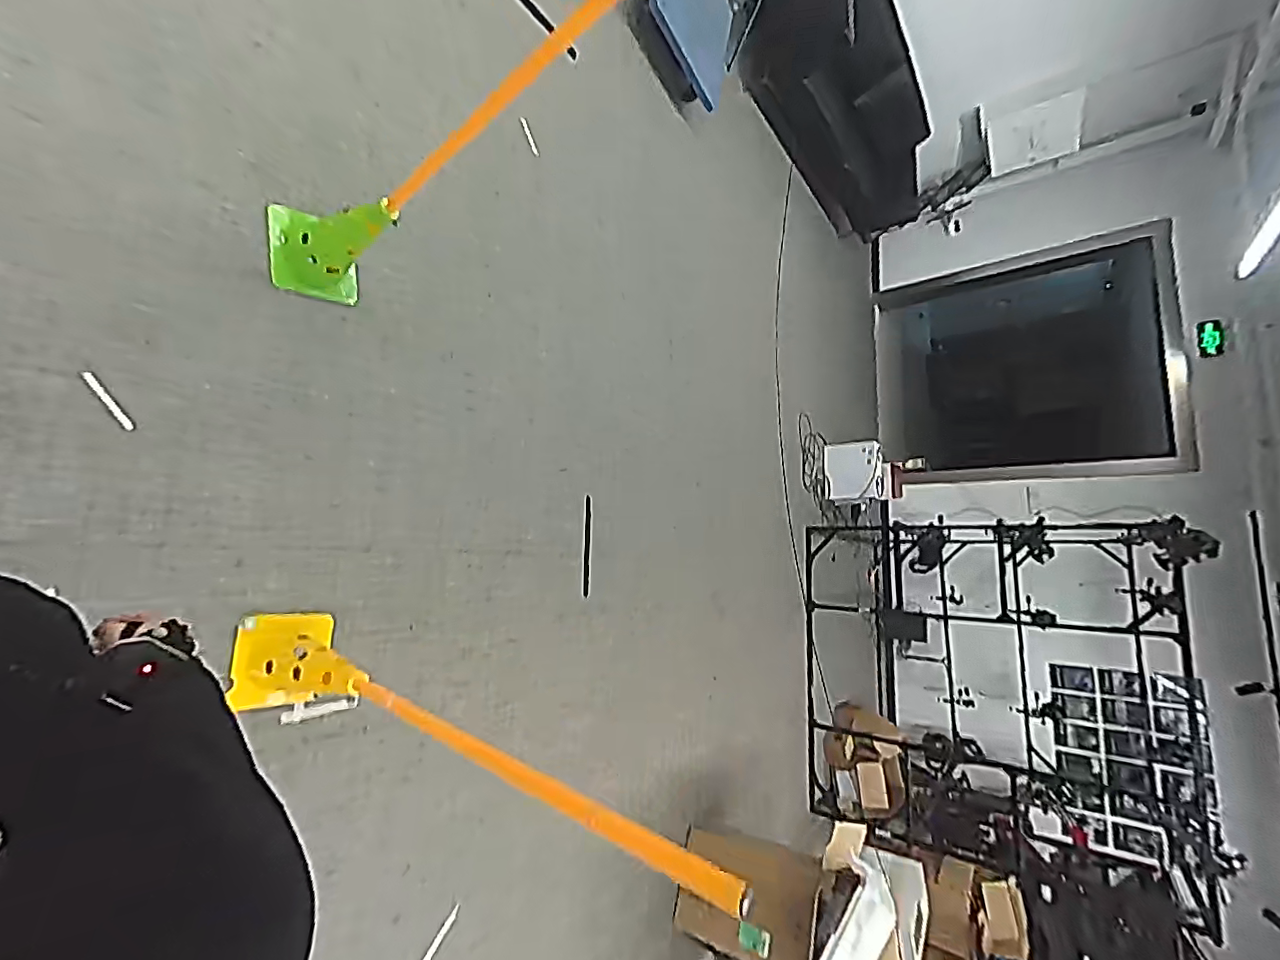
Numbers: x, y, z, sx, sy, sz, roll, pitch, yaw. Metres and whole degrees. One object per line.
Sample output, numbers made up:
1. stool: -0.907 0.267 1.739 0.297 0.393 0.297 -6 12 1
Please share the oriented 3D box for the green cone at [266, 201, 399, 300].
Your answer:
1. green cone: -0.671 -0.565 1.235 0.200 0.368 0.202 -4 92 -54
